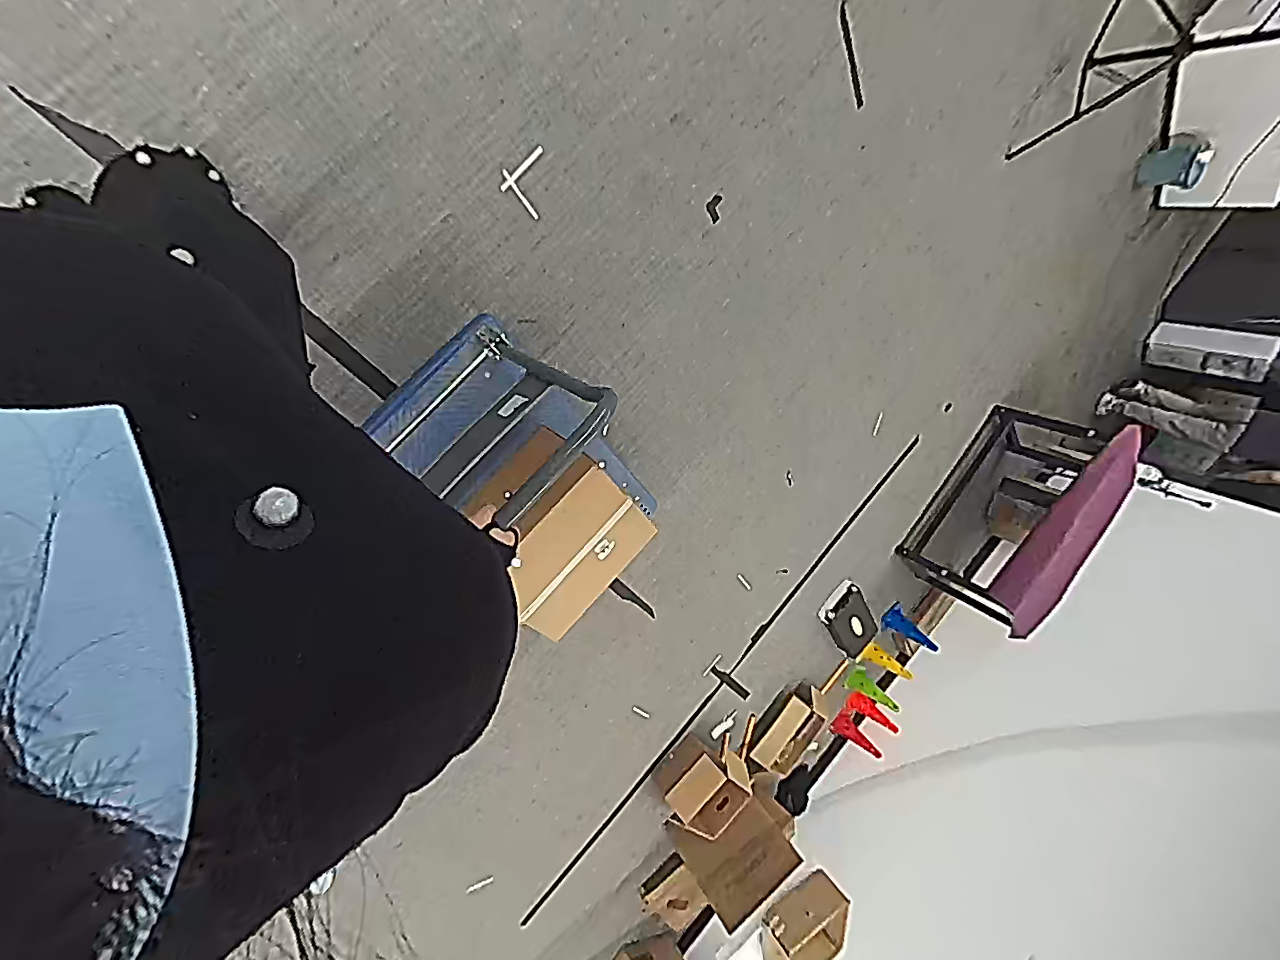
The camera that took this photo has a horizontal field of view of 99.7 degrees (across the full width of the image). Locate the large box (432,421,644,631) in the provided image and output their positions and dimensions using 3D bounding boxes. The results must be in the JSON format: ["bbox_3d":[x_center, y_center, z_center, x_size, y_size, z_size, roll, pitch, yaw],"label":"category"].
[{"bbox_3d":[-0.274,0.114,1.456,0.408,0.320,0.320,-48,132,-9],"label":"large box"}]
